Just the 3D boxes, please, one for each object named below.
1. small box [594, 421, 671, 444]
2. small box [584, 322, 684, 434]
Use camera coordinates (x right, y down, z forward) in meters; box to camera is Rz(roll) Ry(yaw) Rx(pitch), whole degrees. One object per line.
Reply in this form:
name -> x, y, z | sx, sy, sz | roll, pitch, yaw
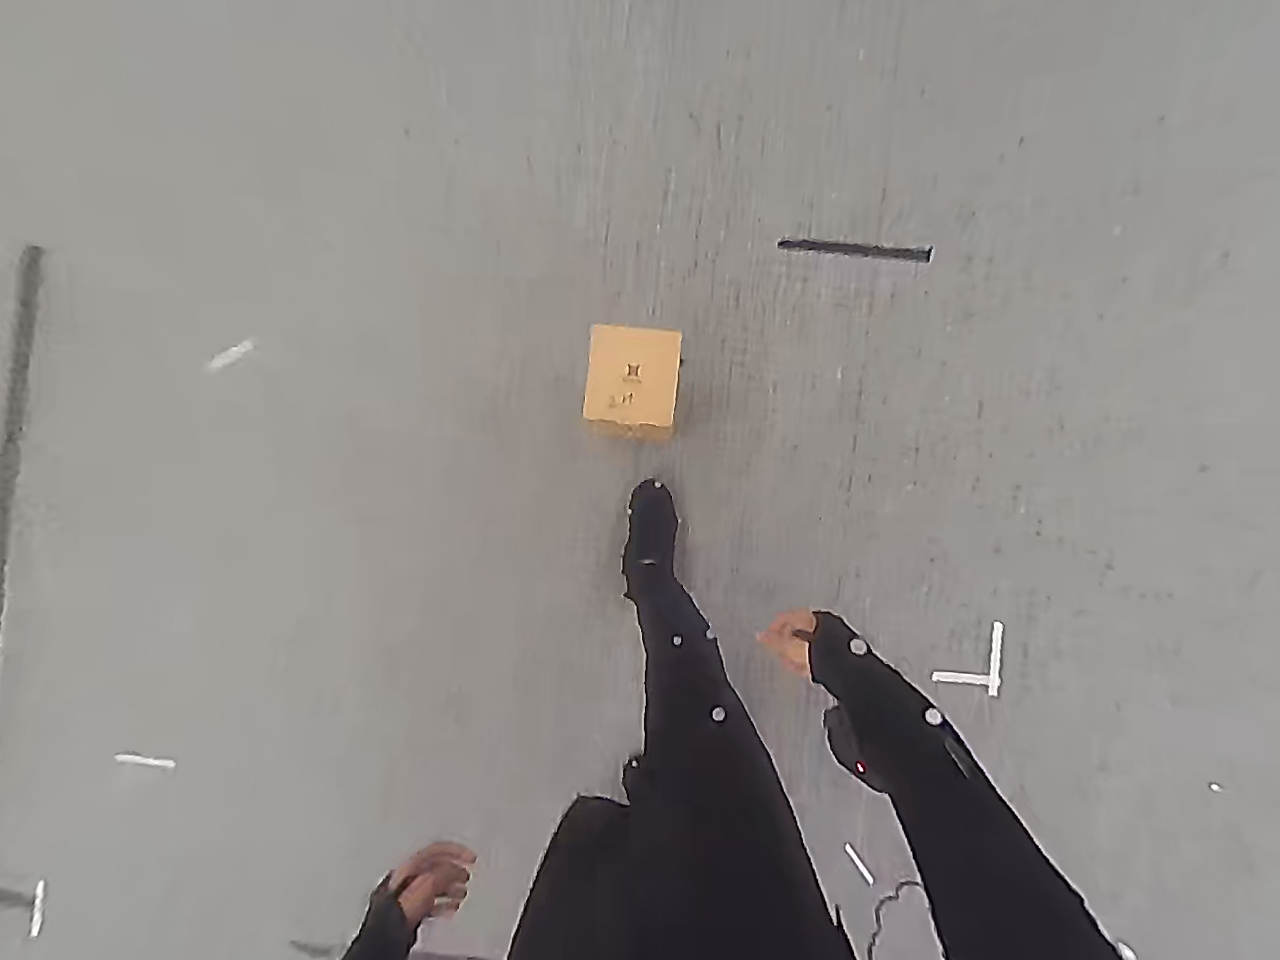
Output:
small box -> -0.003, -0.182, 1.217 | 0.168, 0.176, 0.179 | 7, 90, 3
small box -> -0.008, -0.191, 1.054 | 0.168, 0.176, 0.179 | 7, 90, 3
